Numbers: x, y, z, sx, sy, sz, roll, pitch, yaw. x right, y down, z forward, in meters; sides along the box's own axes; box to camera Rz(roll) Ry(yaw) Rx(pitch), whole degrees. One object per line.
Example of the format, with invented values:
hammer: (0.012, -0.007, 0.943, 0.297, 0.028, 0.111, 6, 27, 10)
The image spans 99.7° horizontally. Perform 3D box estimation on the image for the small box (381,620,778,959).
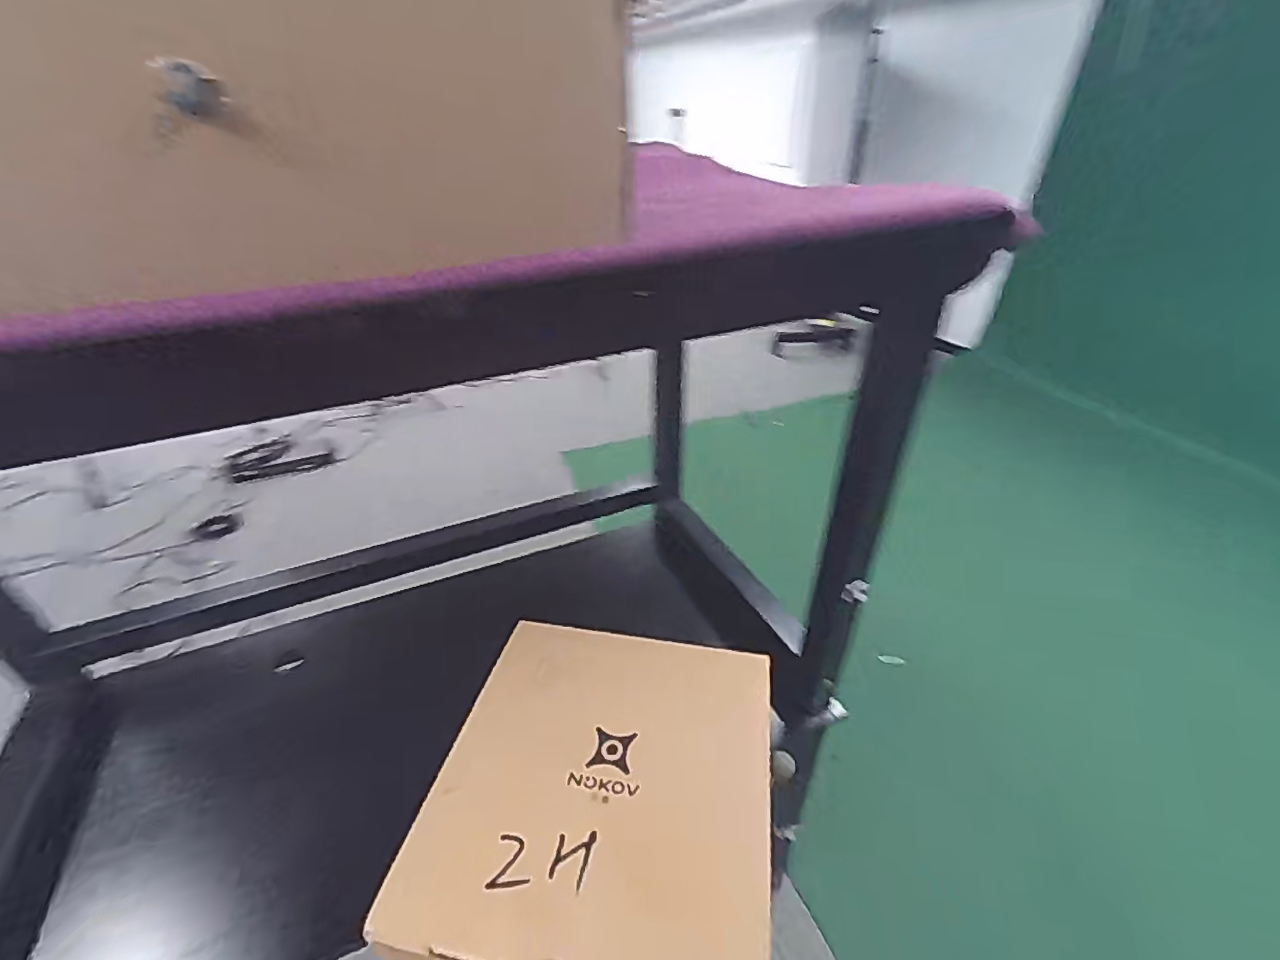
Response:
small box: (-0.012, 0.216, 0.322, 0.168, 0.176, 0.179, 5, 33, 12)
